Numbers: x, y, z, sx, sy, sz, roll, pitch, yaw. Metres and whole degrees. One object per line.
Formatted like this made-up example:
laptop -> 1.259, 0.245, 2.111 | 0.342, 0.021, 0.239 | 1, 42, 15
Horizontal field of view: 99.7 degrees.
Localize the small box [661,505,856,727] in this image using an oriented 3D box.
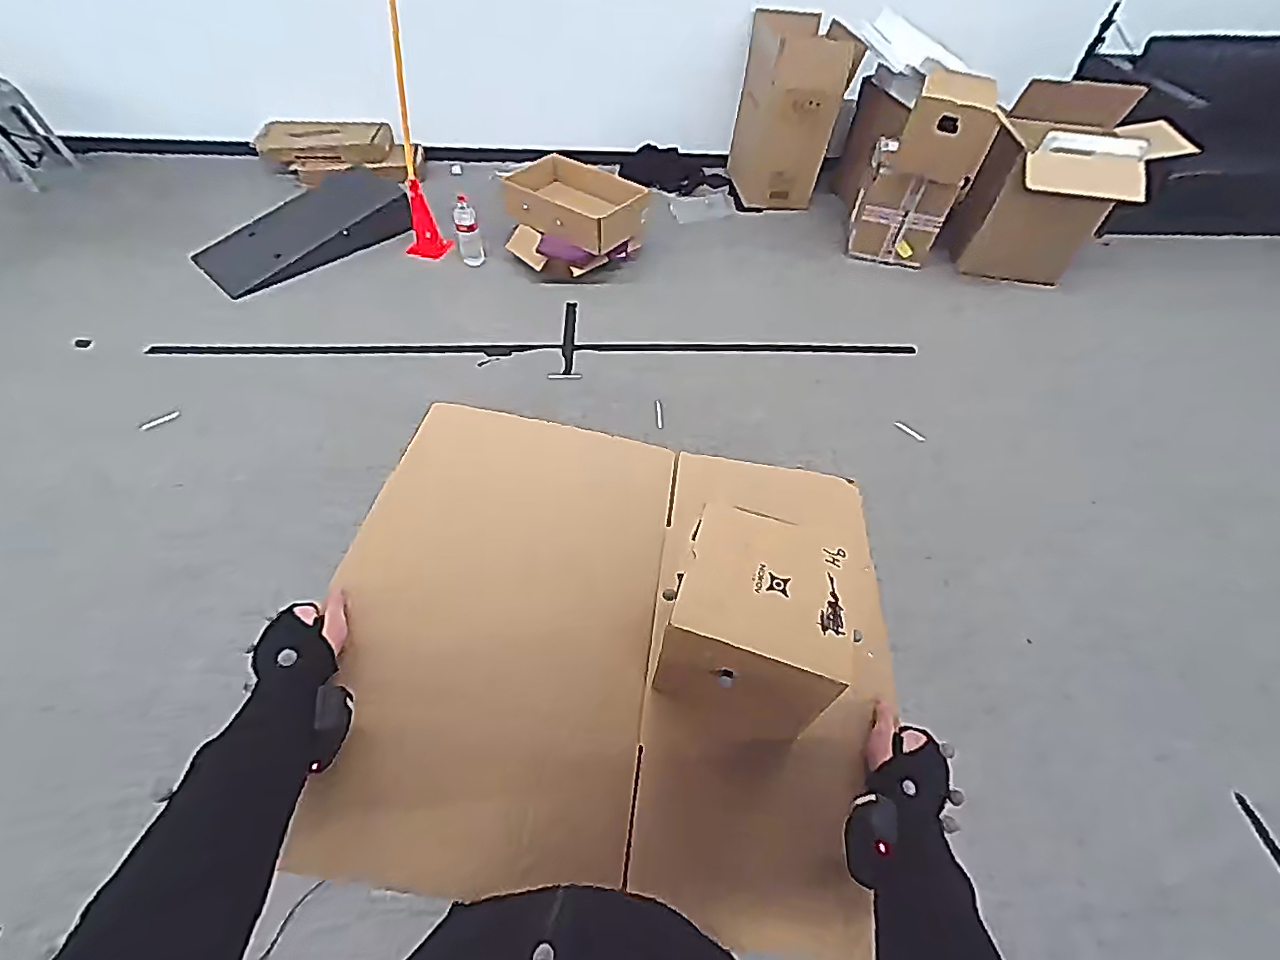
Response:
small box -> 0.130, 0.160, 0.622 | 0.179, 0.176, 0.168 | 15, 50, 9
